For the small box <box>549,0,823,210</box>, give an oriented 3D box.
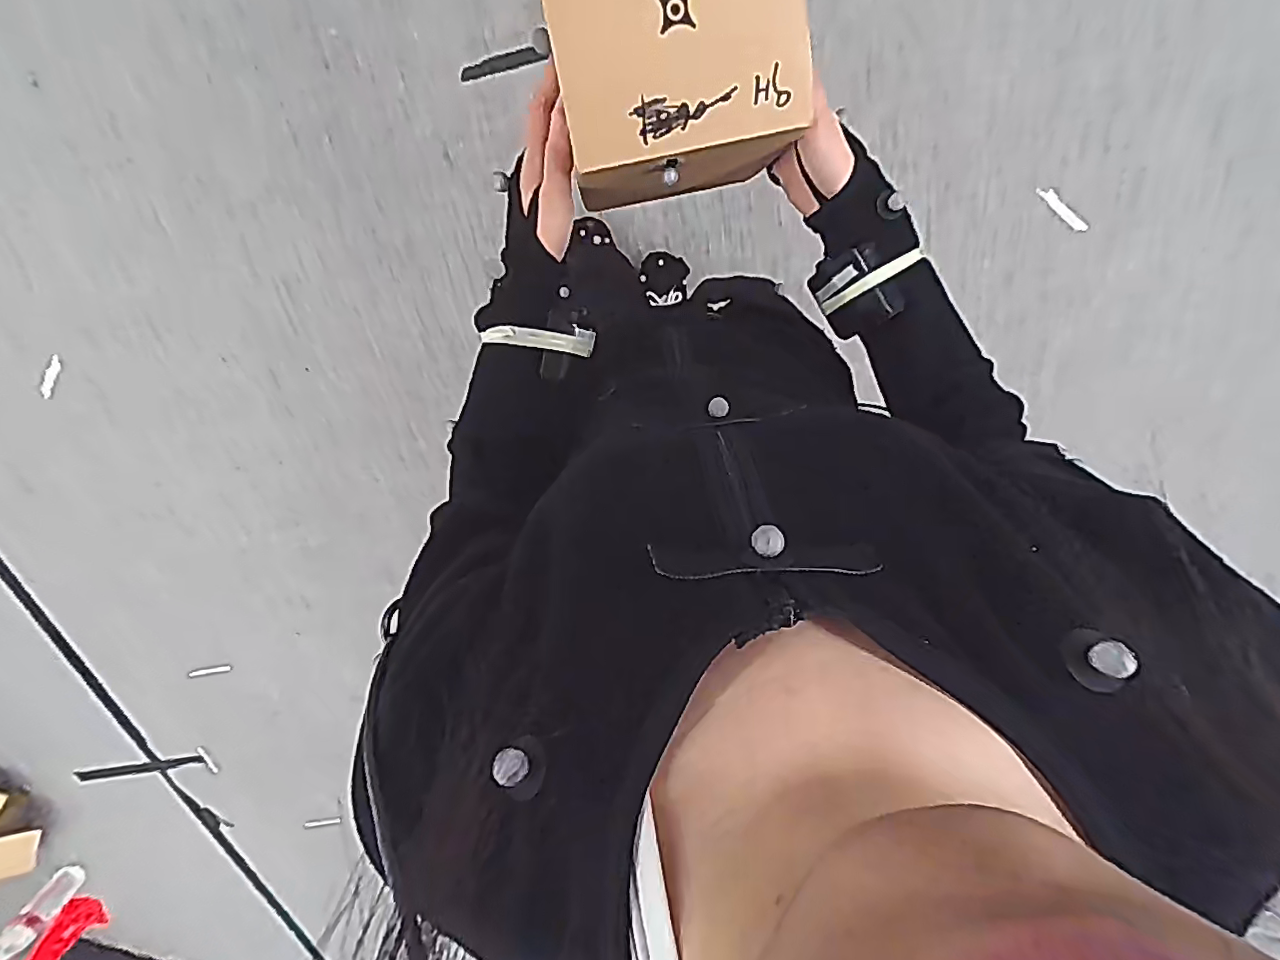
[{"bbox_3d":[0.022,-0.326,0.410,0.168,0.176,0.179,-11,108,0],"label":"small box"}]
